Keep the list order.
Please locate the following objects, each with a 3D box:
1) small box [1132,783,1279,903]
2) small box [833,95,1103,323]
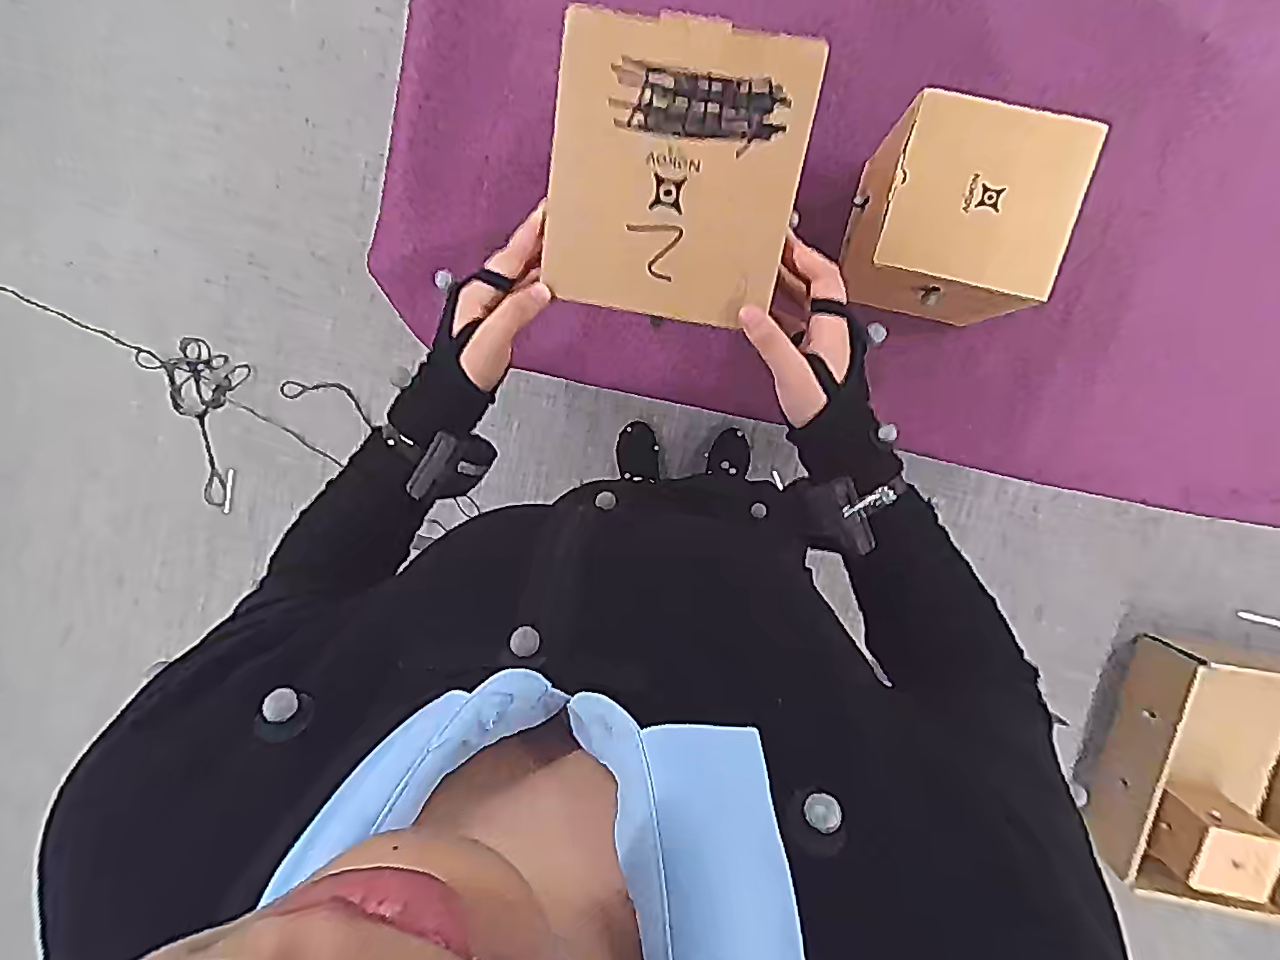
[{"bbox_3d":[1.400,0.896,1.351,0.179,0.176,0.168,10,99,3],"label":"small box"},{"bbox_3d":[0.340,-0.282,0.603,0.179,0.176,0.168,15,99,4],"label":"small box"}]
